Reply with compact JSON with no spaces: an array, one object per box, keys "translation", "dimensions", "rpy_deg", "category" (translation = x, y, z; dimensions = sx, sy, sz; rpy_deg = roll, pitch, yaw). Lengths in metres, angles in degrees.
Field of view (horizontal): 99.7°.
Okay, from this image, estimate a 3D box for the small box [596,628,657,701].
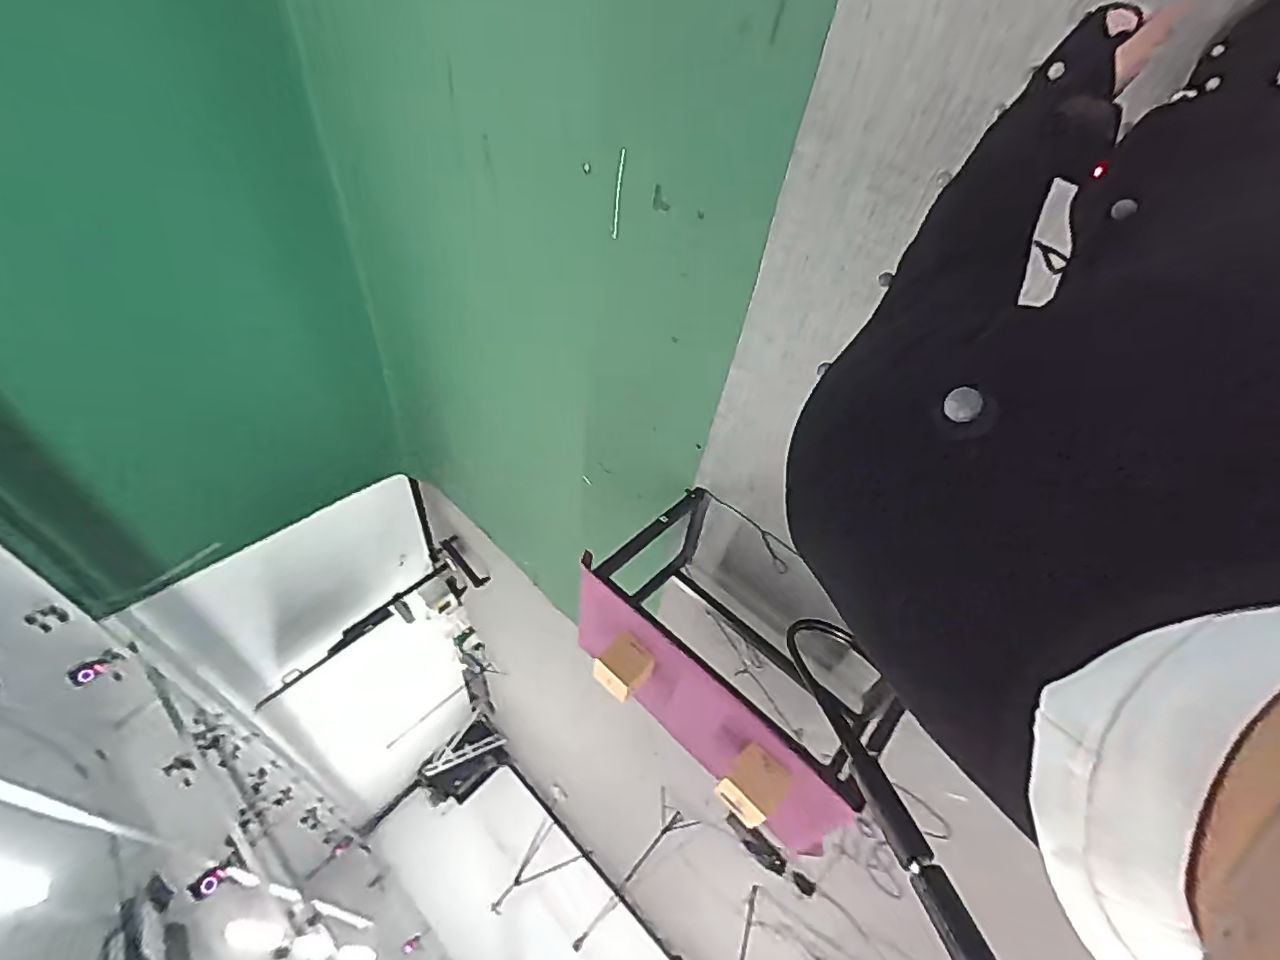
[{"translation":[-0.053,0.715,2.103],"dimensions":[0.168,0.176,0.179],"rpy_deg":[37,143,22],"category":"small box"}]
